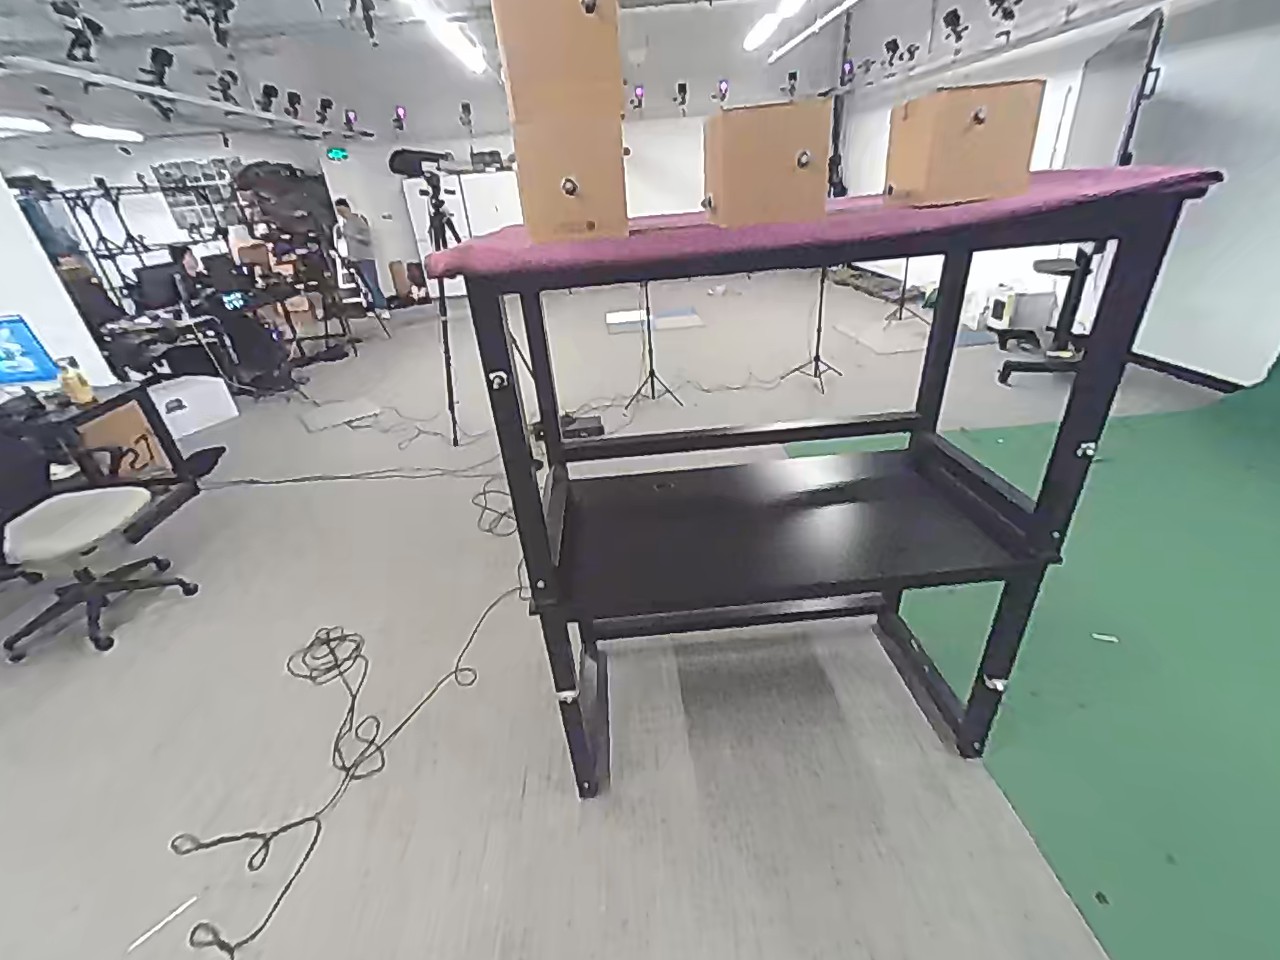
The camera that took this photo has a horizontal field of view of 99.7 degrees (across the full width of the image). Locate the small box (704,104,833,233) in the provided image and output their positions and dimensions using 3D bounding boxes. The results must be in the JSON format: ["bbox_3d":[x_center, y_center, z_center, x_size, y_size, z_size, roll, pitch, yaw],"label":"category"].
[{"bbox_3d":[0.208,-0.528,0.926,0.179,0.176,0.168,-7,28,-1],"label":"small box"}]

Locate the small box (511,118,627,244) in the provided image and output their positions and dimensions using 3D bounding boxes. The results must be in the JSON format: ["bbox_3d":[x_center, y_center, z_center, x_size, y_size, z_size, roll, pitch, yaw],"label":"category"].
[{"bbox_3d":[-0.111,-0.497,0.911,0.168,0.176,0.179,-5,29,-2],"label":"small box"}]

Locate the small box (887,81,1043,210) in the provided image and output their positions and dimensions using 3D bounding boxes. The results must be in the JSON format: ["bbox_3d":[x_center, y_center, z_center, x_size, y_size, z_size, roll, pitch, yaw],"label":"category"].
[{"bbox_3d":[0.553,-0.575,0.951,0.179,0.176,0.168,-5,27,0],"label":"small box"}]

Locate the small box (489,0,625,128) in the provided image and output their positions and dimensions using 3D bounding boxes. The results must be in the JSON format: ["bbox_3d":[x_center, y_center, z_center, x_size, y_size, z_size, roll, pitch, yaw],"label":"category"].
[{"bbox_3d":[-0.121,-0.639,0.832,0.179,0.176,0.168,-5,30,-3],"label":"small box"}]
